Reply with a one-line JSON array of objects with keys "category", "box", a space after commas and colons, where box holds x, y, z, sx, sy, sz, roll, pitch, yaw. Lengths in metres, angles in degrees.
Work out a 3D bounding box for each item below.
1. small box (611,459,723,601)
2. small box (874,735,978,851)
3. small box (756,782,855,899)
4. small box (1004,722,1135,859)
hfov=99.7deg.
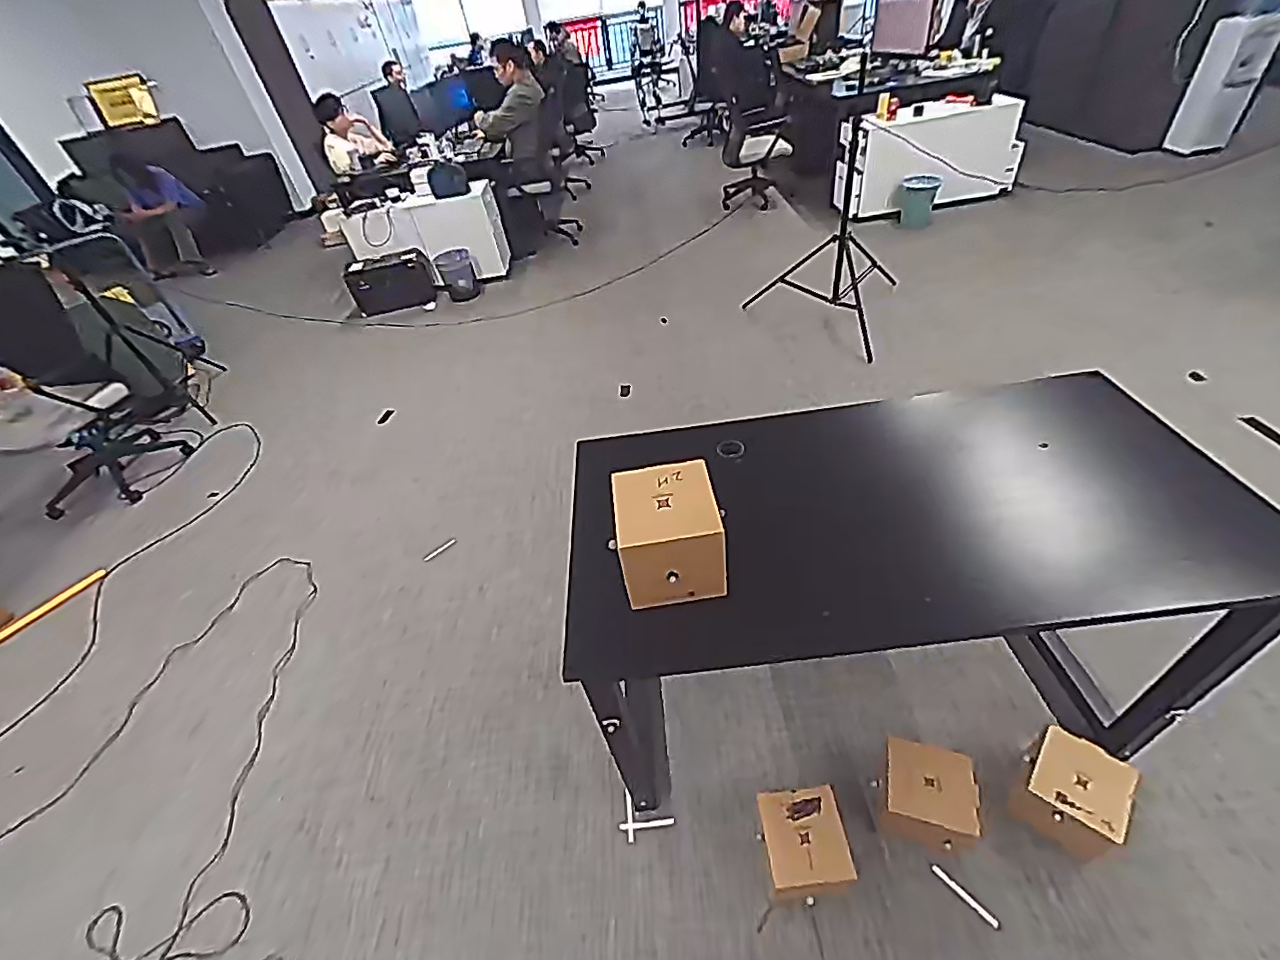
[{"category": "small box", "box": [0.047, 0.093, 0.936, 0.168, 0.176, 0.179, -9, 42, 1]}, {"category": "small box", "box": [0.642, 0.715, 1.232, 0.179, 0.176, 0.168, 6, 44, 19]}, {"category": "small box", "box": [0.355, 0.799, 1.198, 0.168, 0.176, 0.179, -9, 44, 3]}, {"category": "small box", "box": [0.942, 0.687, 1.198, 0.168, 0.176, 0.179, 26, 54, 33]}]
